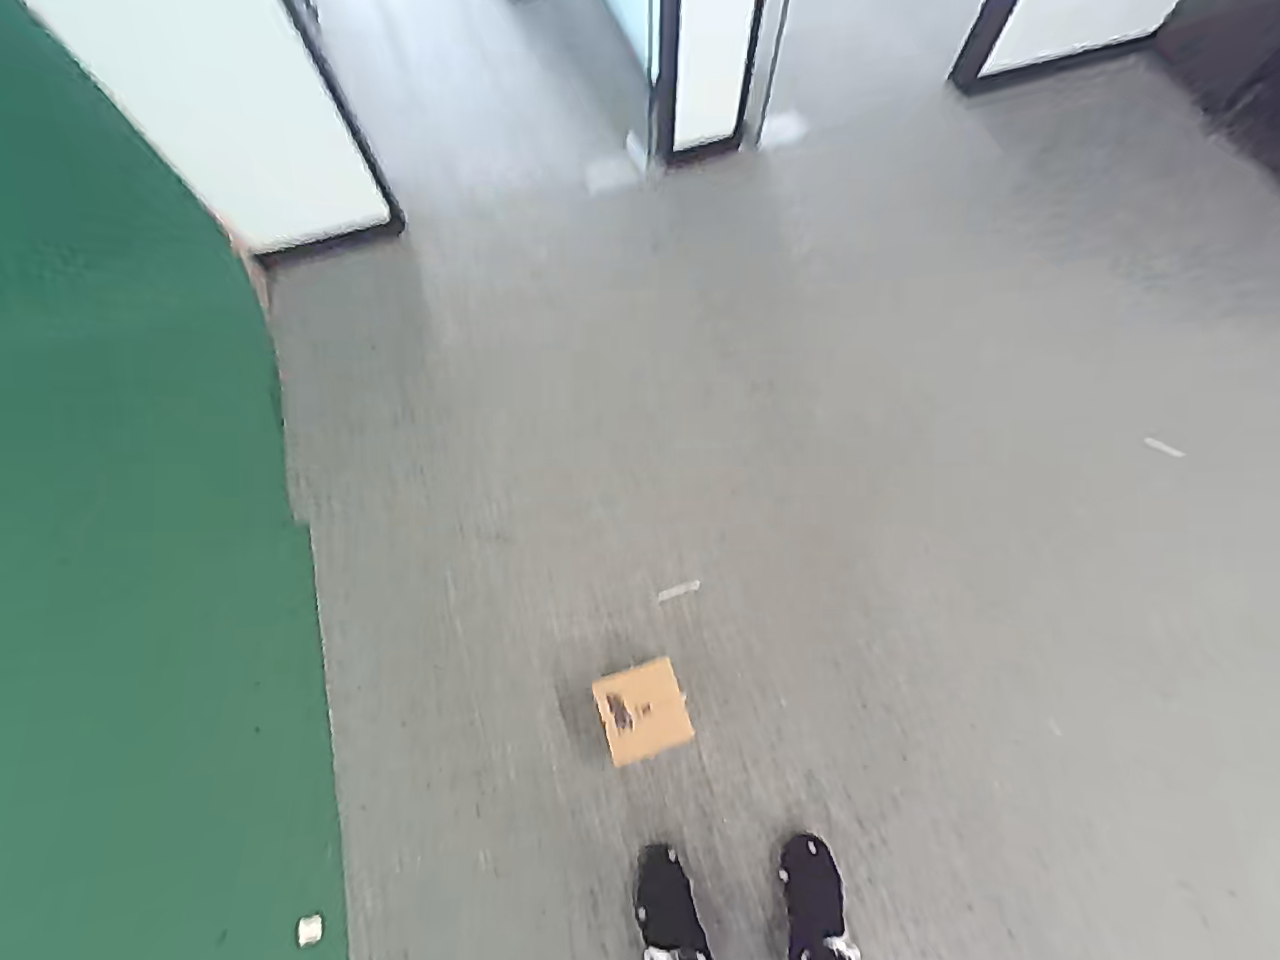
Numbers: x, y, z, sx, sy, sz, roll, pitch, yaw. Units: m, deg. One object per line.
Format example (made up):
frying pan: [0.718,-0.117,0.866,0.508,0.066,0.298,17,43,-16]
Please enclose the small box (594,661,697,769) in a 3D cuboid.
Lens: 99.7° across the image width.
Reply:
small box: [0.012,0.513,1.184,0.179,0.176,0.168,-18,68,-7]
